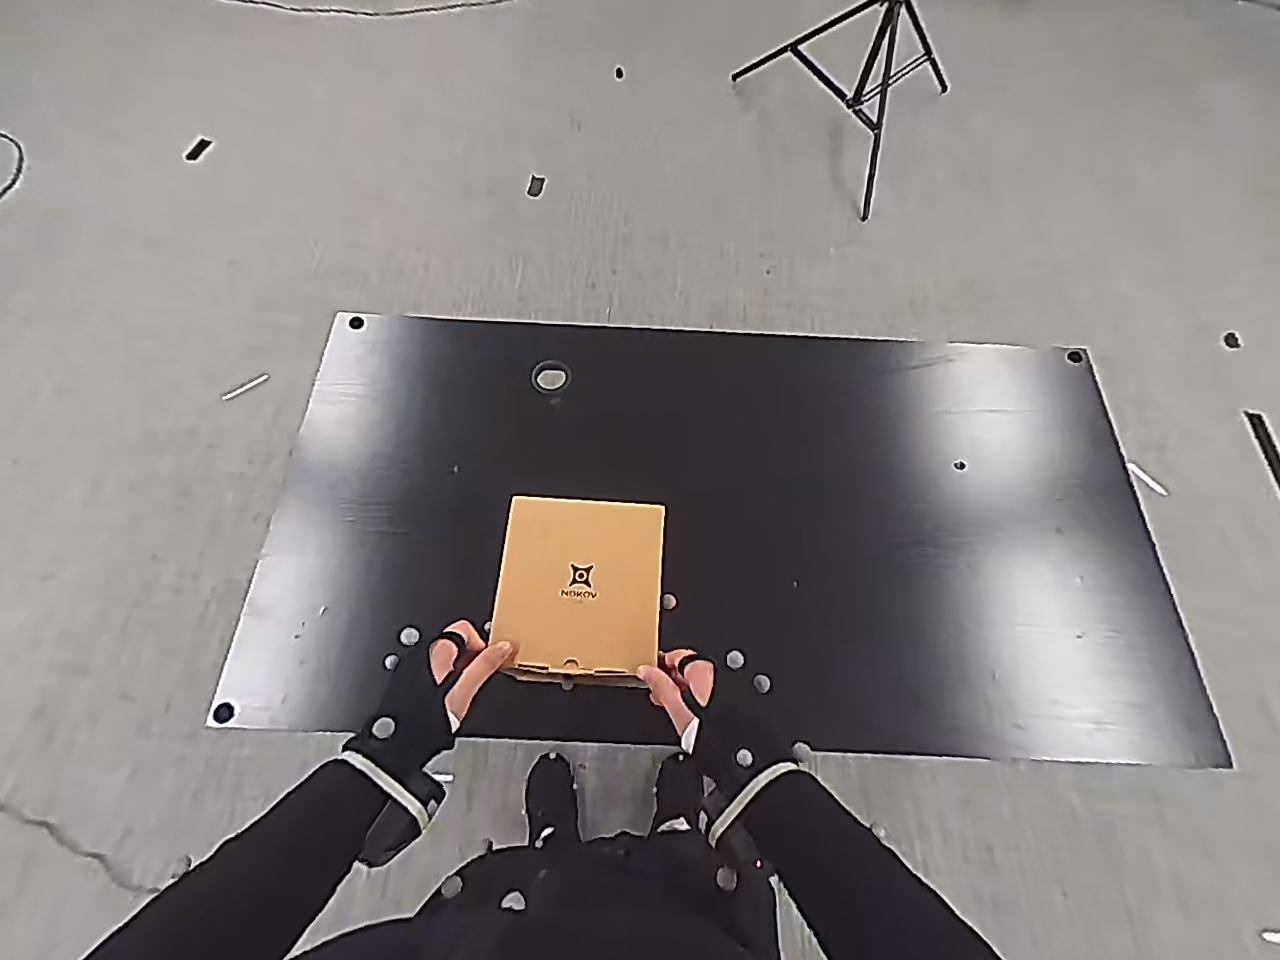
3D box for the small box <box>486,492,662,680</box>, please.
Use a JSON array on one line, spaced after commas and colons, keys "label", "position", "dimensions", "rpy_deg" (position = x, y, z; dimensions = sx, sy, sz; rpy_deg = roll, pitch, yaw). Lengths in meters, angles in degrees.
[{"label": "small box", "position": [-0.065, 0.129, 0.624], "dimensions": [0.168, 0.176, 0.179], "rpy_deg": [3, 67, 0]}]
